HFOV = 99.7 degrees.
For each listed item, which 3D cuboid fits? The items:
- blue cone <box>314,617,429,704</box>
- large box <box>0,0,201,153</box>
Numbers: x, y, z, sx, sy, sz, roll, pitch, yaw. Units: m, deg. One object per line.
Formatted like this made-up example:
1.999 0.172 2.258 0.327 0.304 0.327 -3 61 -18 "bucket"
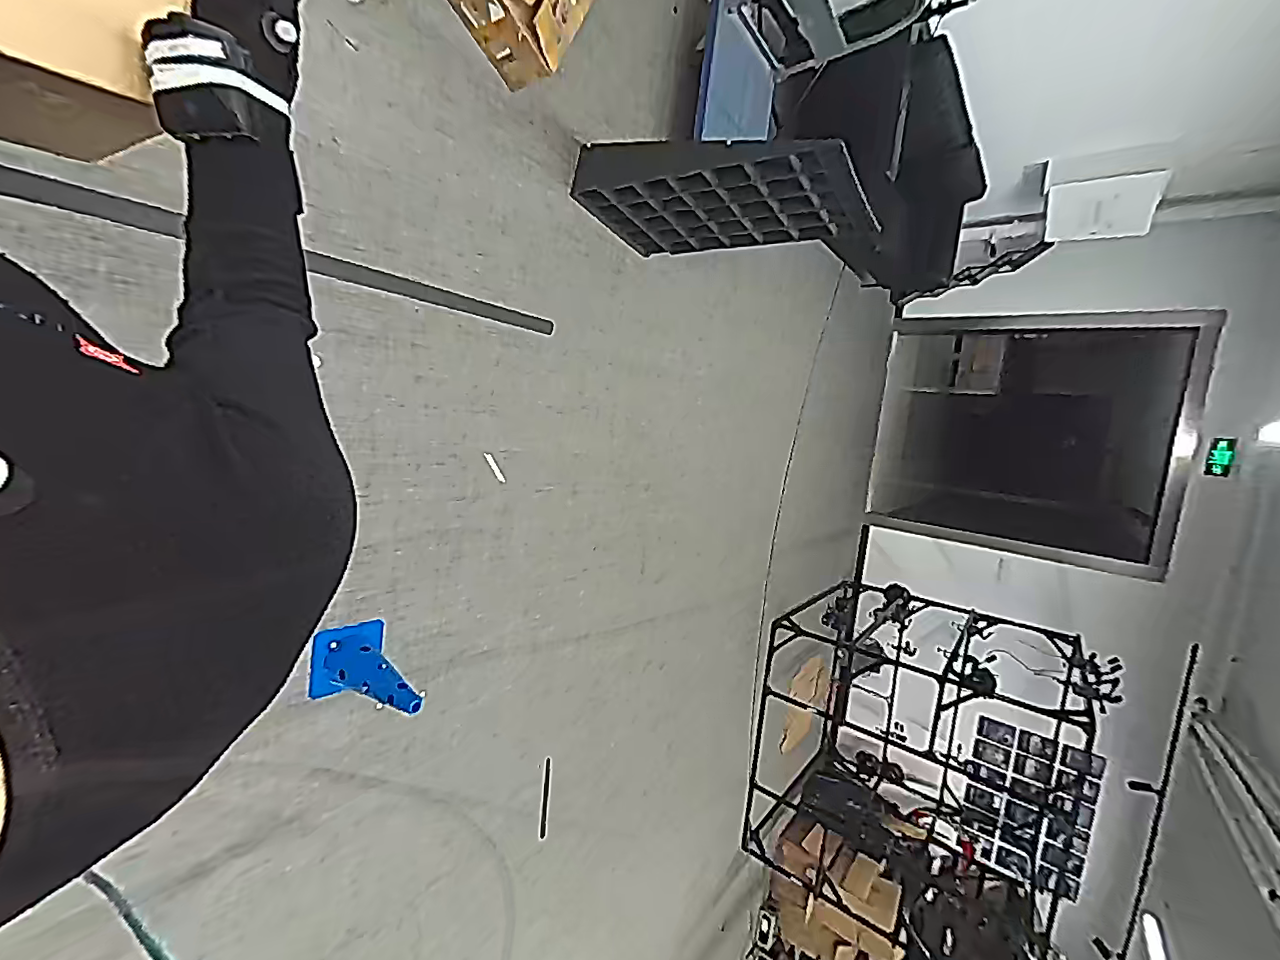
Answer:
-0.714 0.530 1.483 0.192 0.380 0.193 3 97 -55 "blue cone"
-0.542 -0.425 0.283 0.408 0.320 0.320 -11 112 -55 "large box"
